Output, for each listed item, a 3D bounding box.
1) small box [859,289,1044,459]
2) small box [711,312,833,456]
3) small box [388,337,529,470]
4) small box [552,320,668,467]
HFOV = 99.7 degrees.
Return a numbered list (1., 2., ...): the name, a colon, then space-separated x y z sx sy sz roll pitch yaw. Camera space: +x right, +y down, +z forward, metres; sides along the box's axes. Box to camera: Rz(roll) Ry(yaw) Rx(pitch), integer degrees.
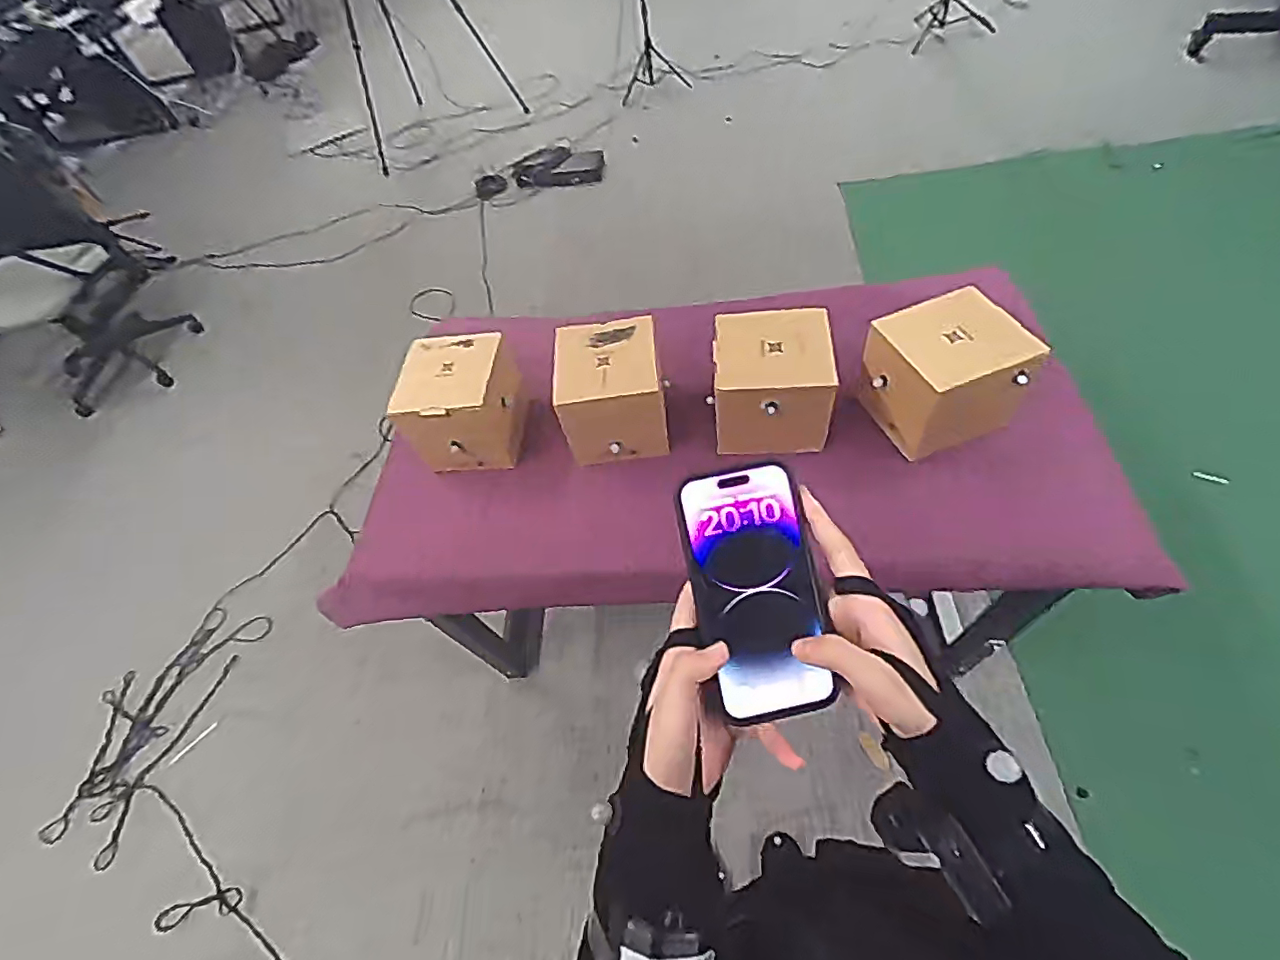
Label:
1. small box: 0.466 -0.160 0.848 0.179 0.176 0.168 -21 54 -4
2. small box: 0.211 -0.151 0.890 0.179 0.176 0.168 -1 57 10
3. small box: -0.311 -0.128 0.969 0.168 0.176 0.179 -3 56 9
4. small box: -0.046 -0.145 0.931 0.168 0.176 0.179 -7 56 6
